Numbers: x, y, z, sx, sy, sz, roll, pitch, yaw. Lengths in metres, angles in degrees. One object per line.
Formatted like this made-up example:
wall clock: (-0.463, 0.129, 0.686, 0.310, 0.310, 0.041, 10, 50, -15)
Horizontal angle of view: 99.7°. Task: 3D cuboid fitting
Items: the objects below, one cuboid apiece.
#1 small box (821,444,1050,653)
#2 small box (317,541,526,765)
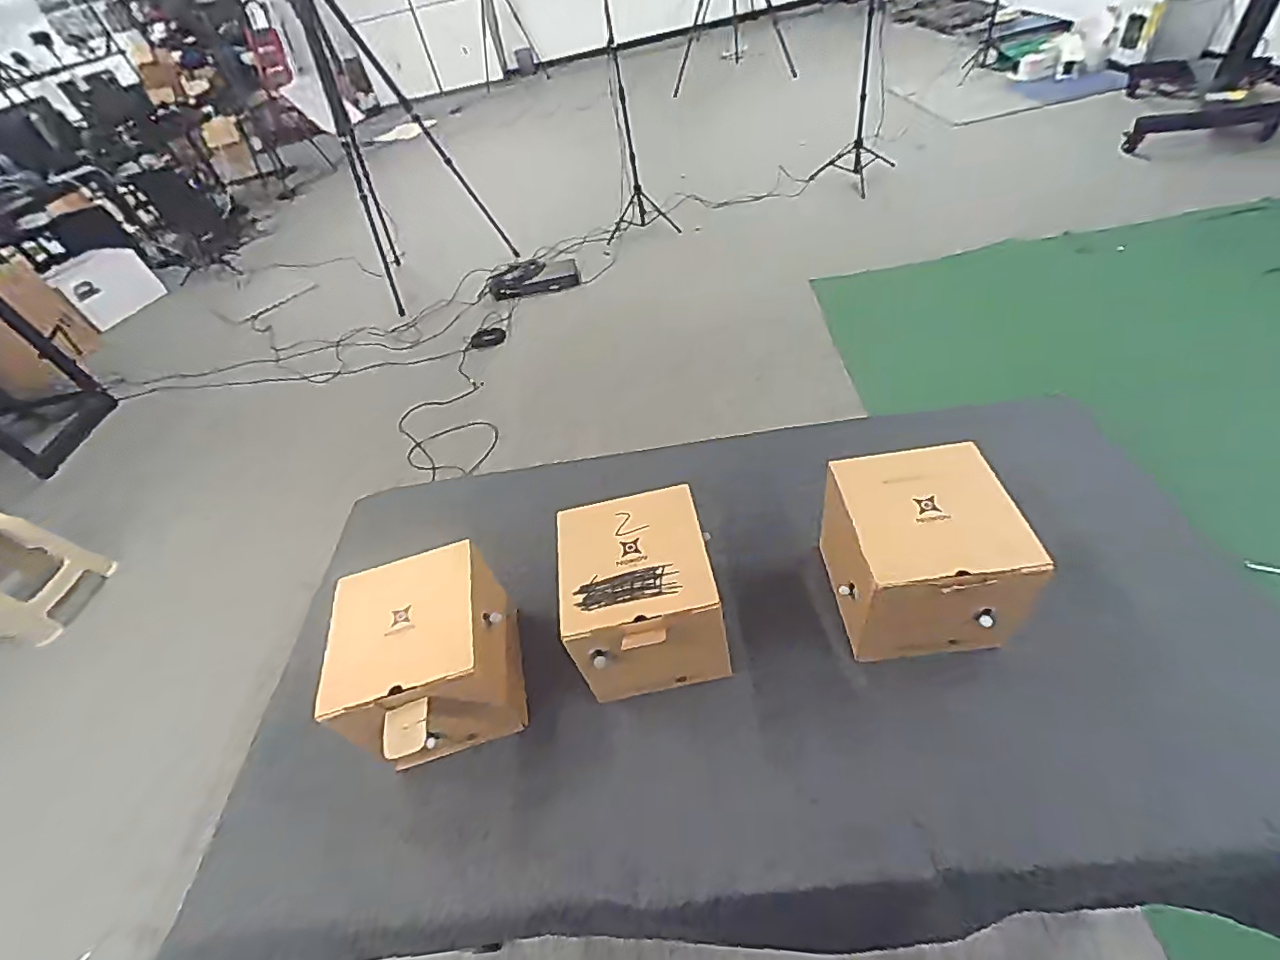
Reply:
small box: (0.318, 0.086, 0.628, 0.168, 0.176, 0.179, -8, 45, 5)
small box: (-0.246, 0.207, 0.649, 0.168, 0.176, 0.179, -17, 46, -3)
